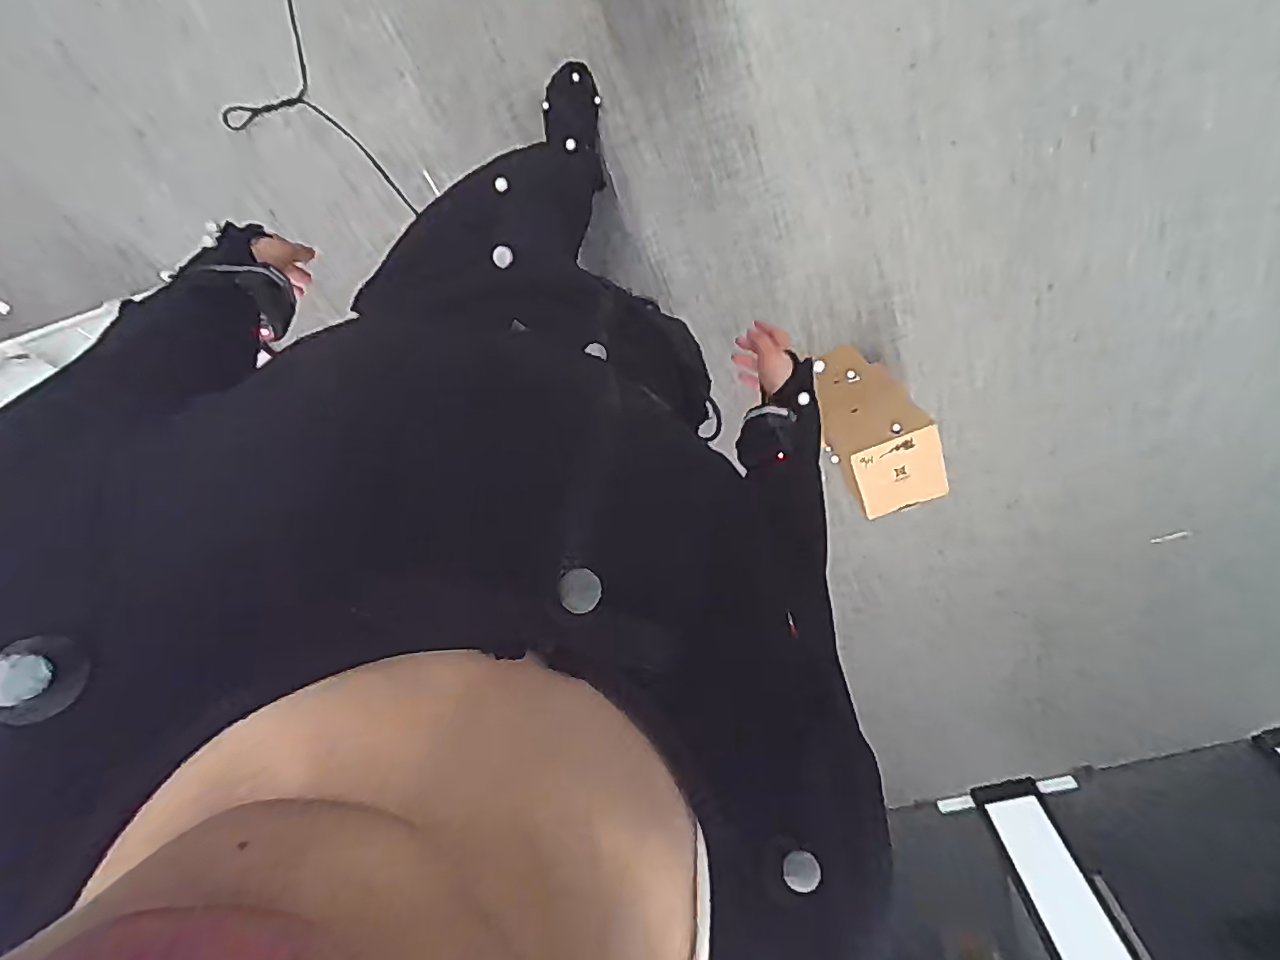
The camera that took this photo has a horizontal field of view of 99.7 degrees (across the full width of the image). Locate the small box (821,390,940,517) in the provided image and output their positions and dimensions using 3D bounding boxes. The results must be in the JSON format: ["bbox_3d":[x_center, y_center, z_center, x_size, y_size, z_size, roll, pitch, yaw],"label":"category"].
[{"bbox_3d":[0.500,-0.058,1.135,0.168,0.176,0.179,-21,122,12],"label":"small box"}]

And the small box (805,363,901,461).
[{"bbox_3d":[0.507,-0.147,1.273,0.168,0.176,0.179,-21,120,12],"label":"small box"}]
